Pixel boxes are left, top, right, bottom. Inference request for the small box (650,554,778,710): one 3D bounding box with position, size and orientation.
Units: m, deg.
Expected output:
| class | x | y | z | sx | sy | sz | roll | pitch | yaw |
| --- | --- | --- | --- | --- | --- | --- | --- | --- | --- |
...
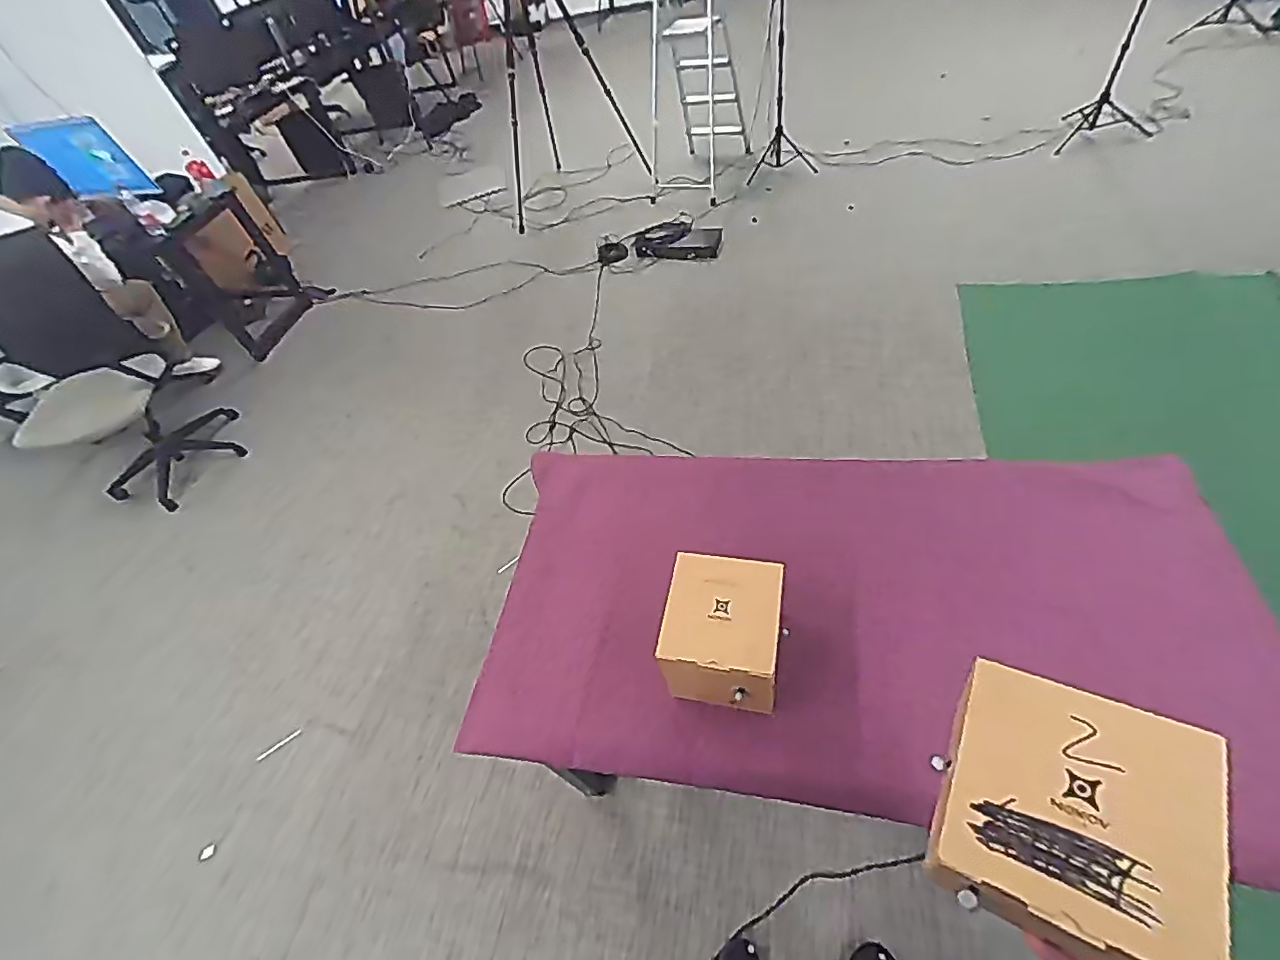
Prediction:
| class | x | y | z | sx | sy | sz | roll | pitch | yaw |
| --- | --- | --- | --- | --- | --- | --- | --- | --- | --- |
| small box | 0.125 | 0.242 | 0.854 | 0.168 | 0.176 | 0.179 | 6 | 52 | 15 |
